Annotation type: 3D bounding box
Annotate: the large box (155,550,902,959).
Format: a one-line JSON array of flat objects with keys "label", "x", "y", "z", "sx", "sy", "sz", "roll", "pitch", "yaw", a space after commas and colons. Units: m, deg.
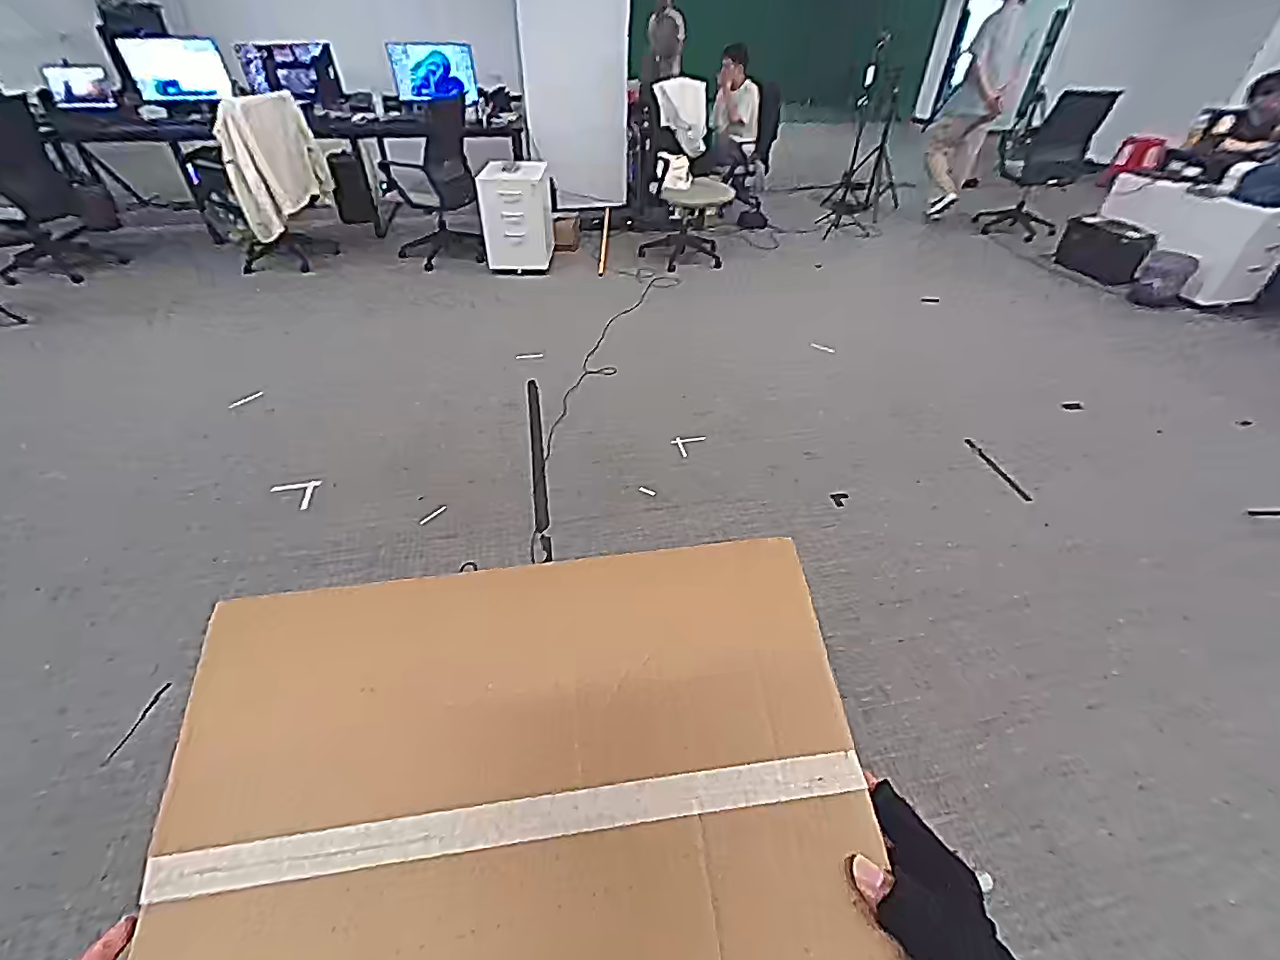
[{"label": "large box", "x": -0.068, "y": 0.281, "z": 0.449, "sx": 0.408, "sy": 0.320, "sz": 0.320, "roll": -6, "pitch": 61, "yaw": -4}]
